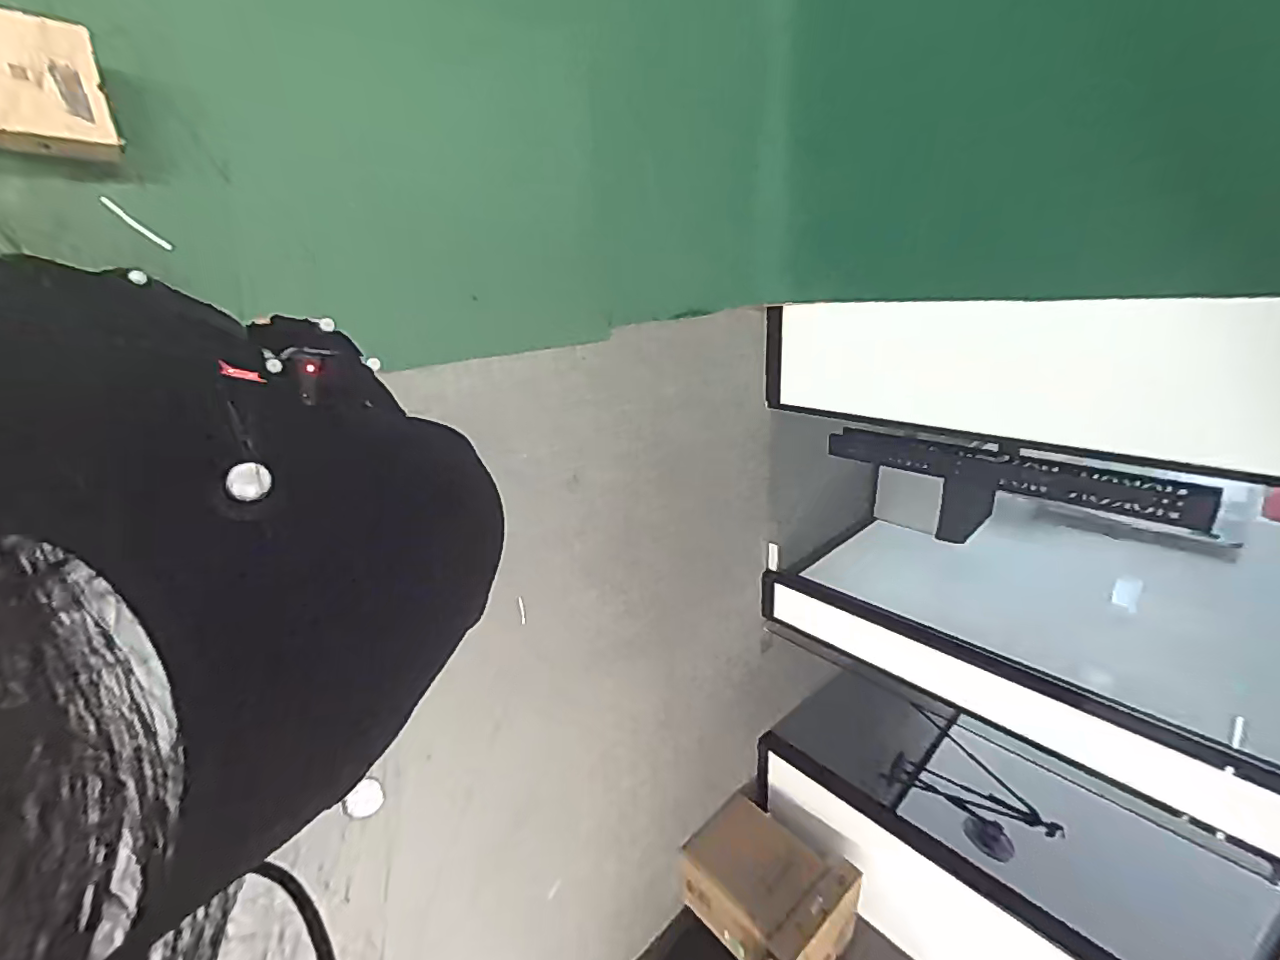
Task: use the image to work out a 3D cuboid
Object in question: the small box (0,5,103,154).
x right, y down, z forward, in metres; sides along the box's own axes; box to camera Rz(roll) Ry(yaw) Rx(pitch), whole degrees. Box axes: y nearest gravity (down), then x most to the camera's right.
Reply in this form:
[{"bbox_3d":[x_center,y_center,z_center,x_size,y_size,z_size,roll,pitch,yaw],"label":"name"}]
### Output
[{"bbox_3d":[-1.012,-0.643,0.873,0.179,0.176,0.168,-16,114,-40],"label":"small box"}]
